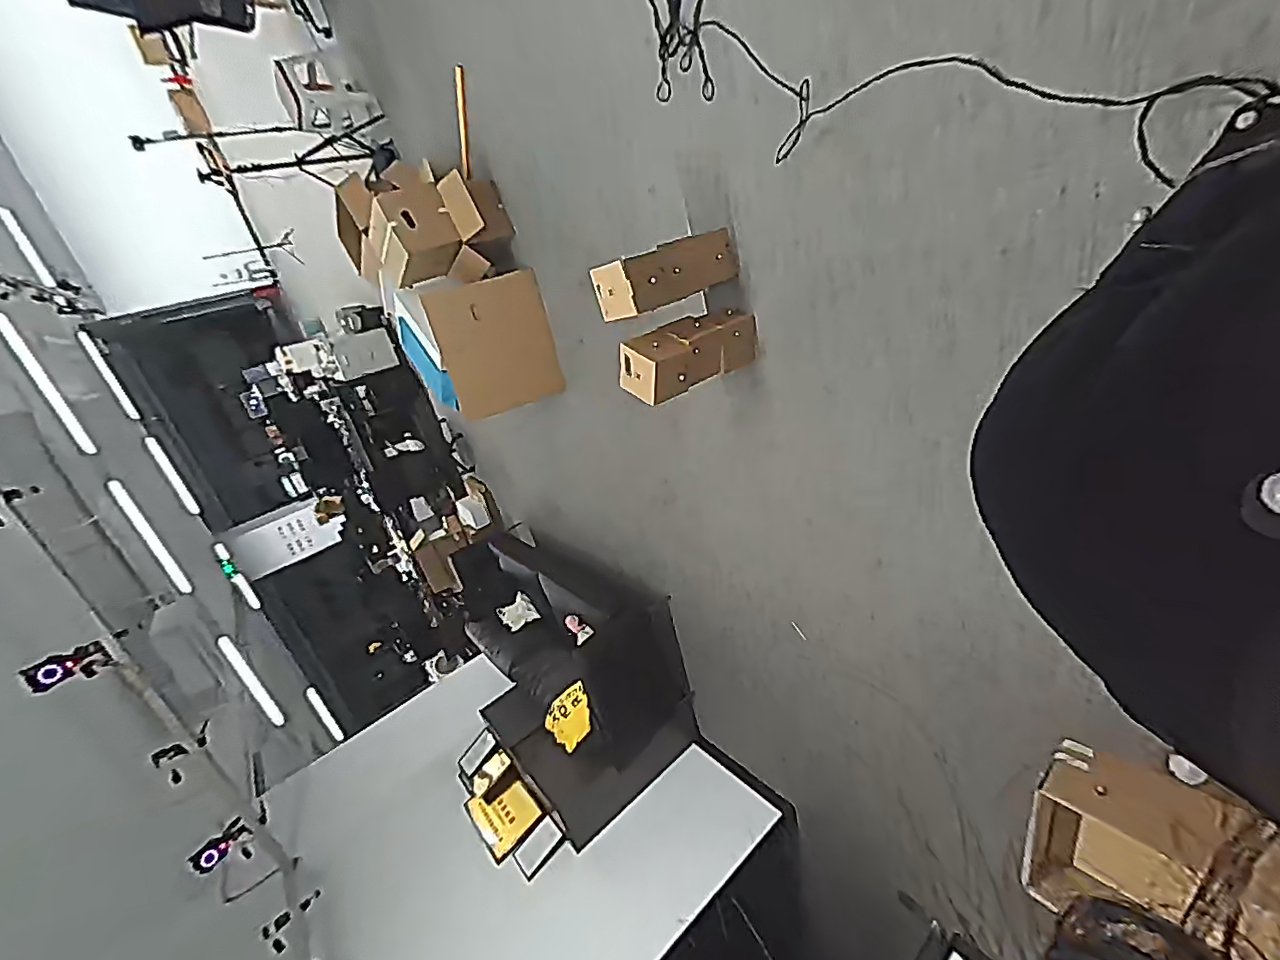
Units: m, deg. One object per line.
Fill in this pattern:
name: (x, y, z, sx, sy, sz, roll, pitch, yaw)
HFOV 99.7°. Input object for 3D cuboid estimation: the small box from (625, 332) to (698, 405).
small box: (0.068, -0.380, 1.806, 0.179, 0.176, 0.168, 37, 142, 34)

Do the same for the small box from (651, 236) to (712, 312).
small box: (0.112, -0.686, 1.801, 0.168, 0.176, 0.179, -1, 115, 56)

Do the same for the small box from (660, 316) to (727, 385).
small box: (0.187, -0.452, 1.893, 0.168, 0.176, 0.179, 34, 140, 39)

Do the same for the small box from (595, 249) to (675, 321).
small box: (-0.008, -0.618, 1.714, 0.179, 0.176, 0.168, 10, 124, 51)

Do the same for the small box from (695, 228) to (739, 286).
small box: (0.225, -0.764, 1.890, 0.179, 0.176, 0.168, 7, 121, 55)
